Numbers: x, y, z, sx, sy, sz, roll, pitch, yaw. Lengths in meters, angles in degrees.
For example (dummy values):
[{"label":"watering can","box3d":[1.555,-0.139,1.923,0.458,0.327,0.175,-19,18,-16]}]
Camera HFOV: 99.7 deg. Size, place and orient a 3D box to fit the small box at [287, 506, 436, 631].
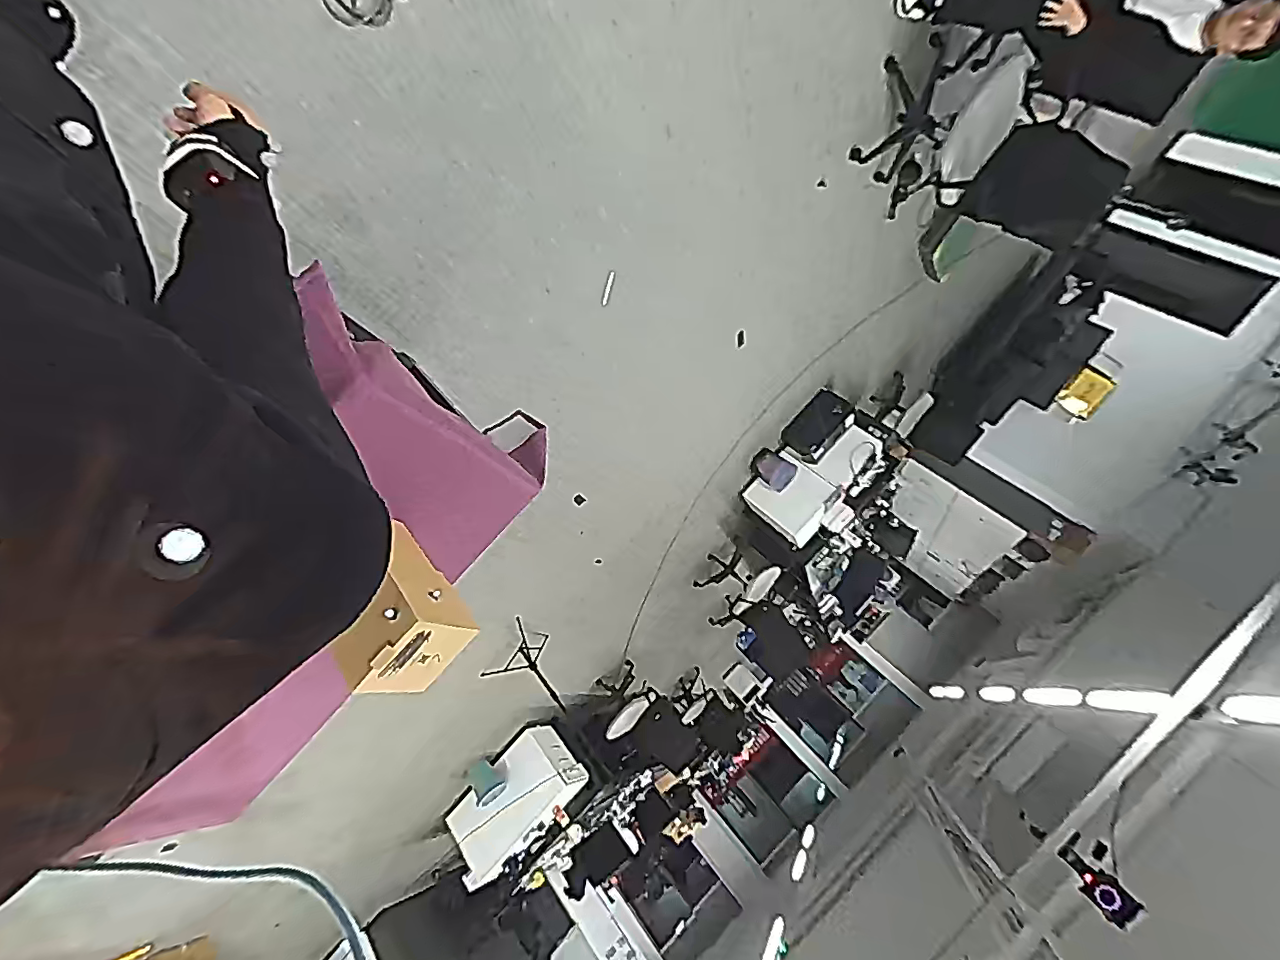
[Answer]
[{"label":"small box","box3d":[-0.556,0.177,1.085,0.168,0.176,0.179,-48,151,-1]}]
